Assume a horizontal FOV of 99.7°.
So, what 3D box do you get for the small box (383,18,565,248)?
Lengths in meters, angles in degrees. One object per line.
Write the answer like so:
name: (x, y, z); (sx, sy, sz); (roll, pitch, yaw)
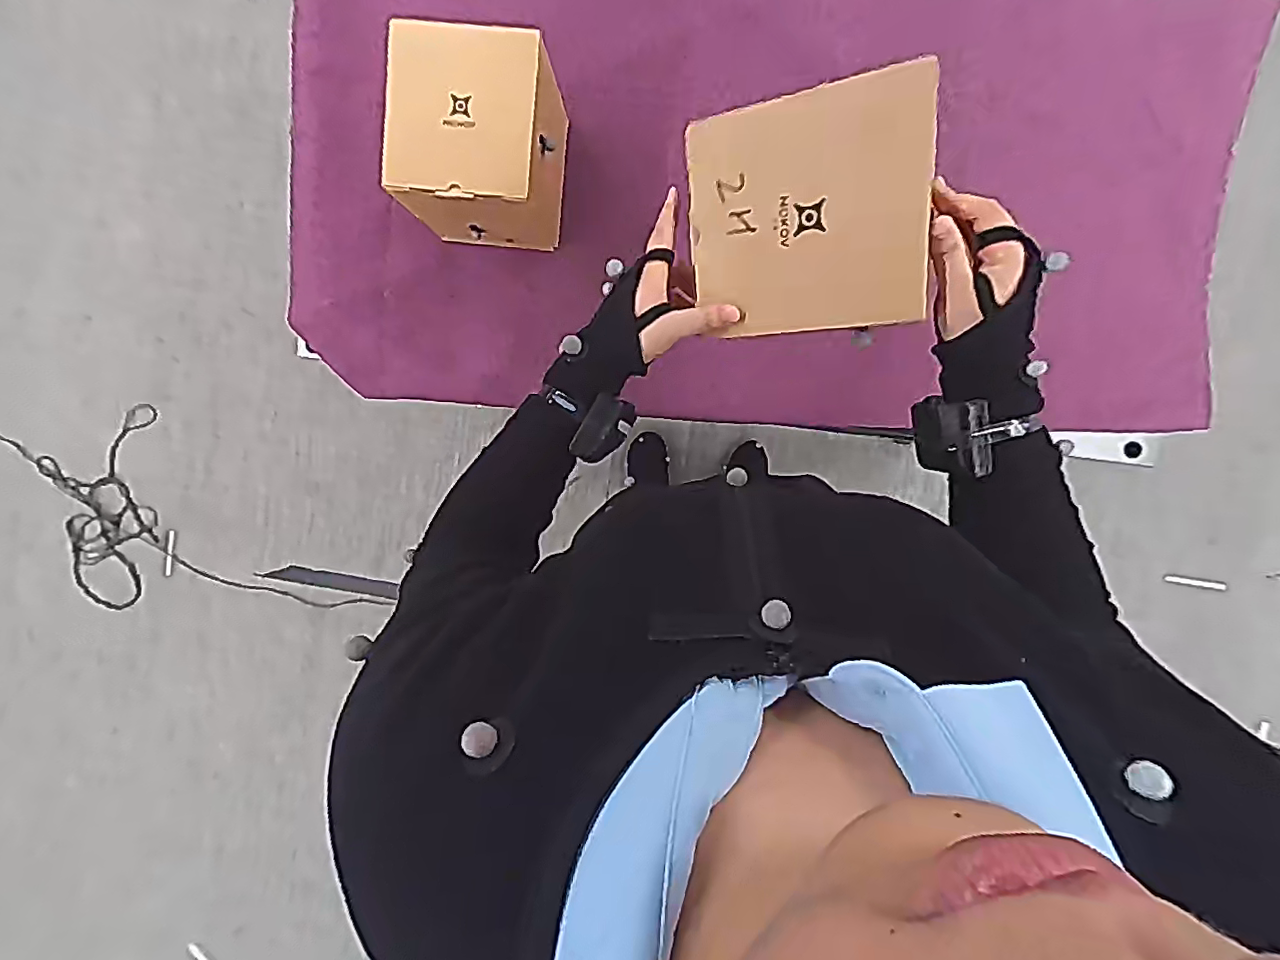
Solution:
small box: (-0.190, -0.407, 0.662); (0.168, 0.176, 0.179); (6, 97, 2)
